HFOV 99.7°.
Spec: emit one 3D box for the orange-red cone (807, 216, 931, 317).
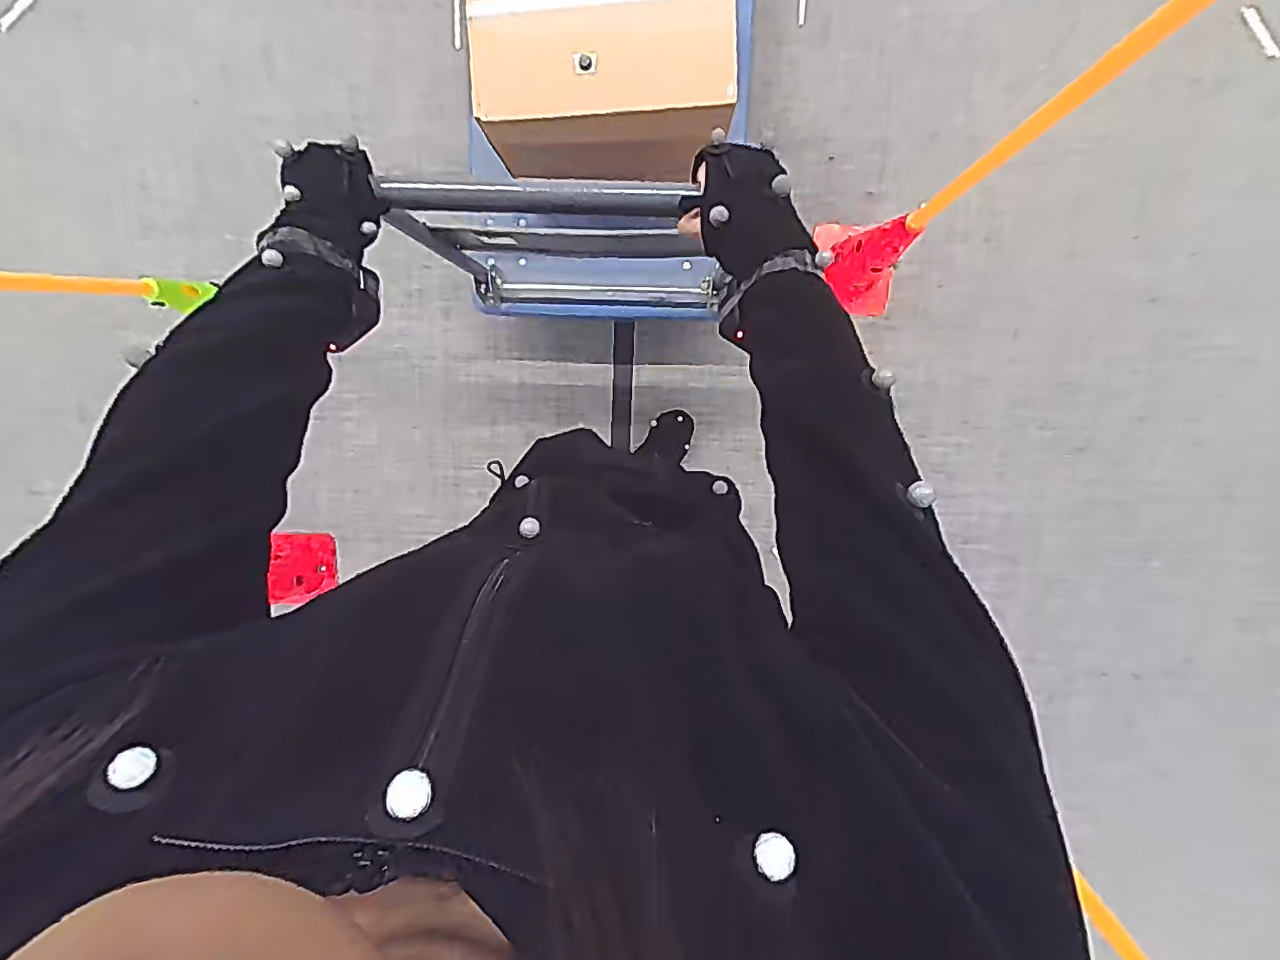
[{"bbox_3d":[0.507,-0.479,1.132,0.199,0.360,0.198,8,99,0],"label":"orange-red cone"}]
